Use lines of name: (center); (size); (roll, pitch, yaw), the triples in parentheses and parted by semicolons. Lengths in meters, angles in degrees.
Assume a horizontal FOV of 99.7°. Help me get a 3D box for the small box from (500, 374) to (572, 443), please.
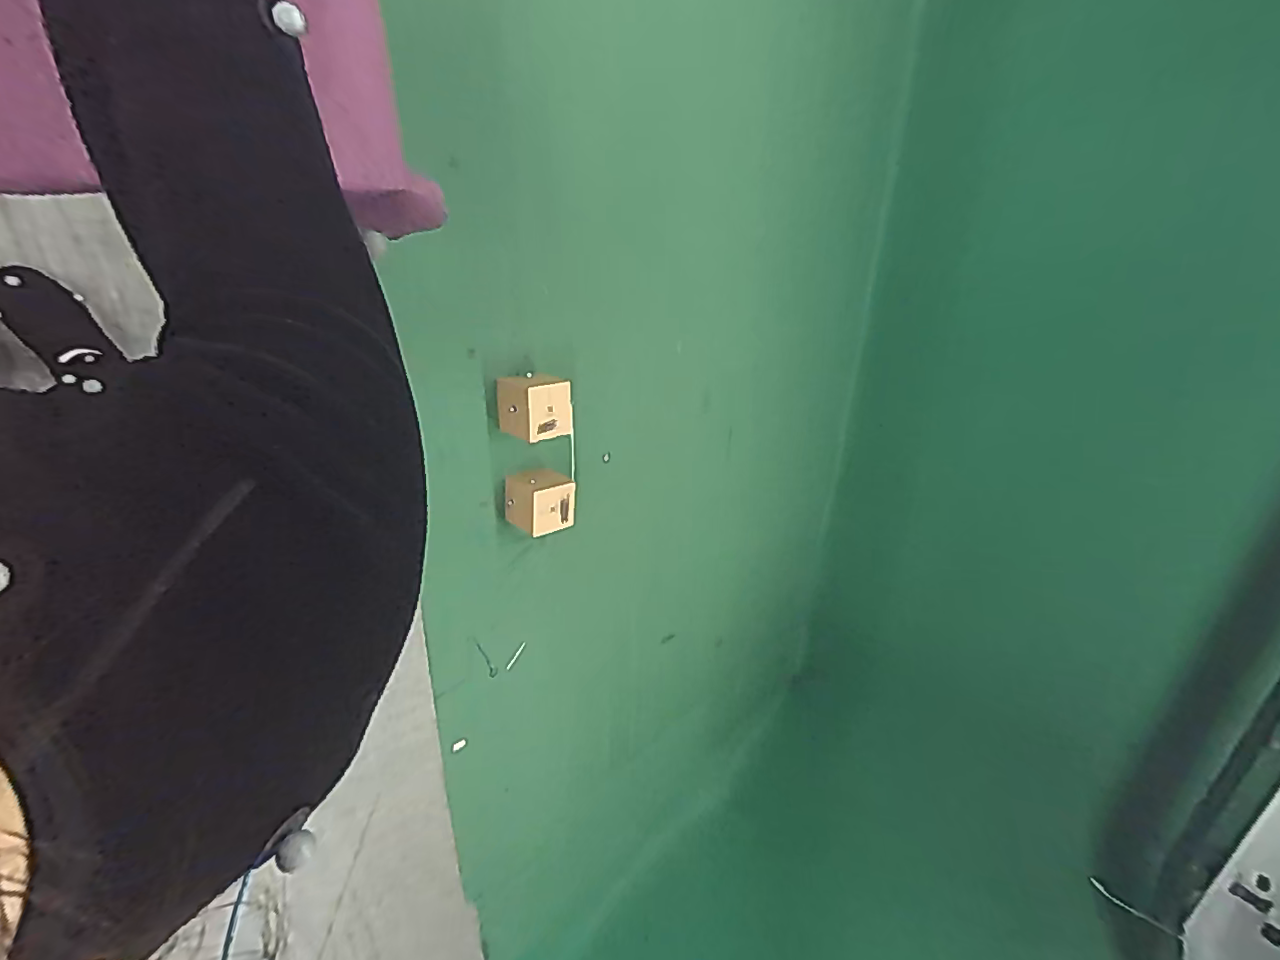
small box: (-0.334, -0.234, 1.736); (0.168, 0.176, 0.179); (-19, 120, -43)
